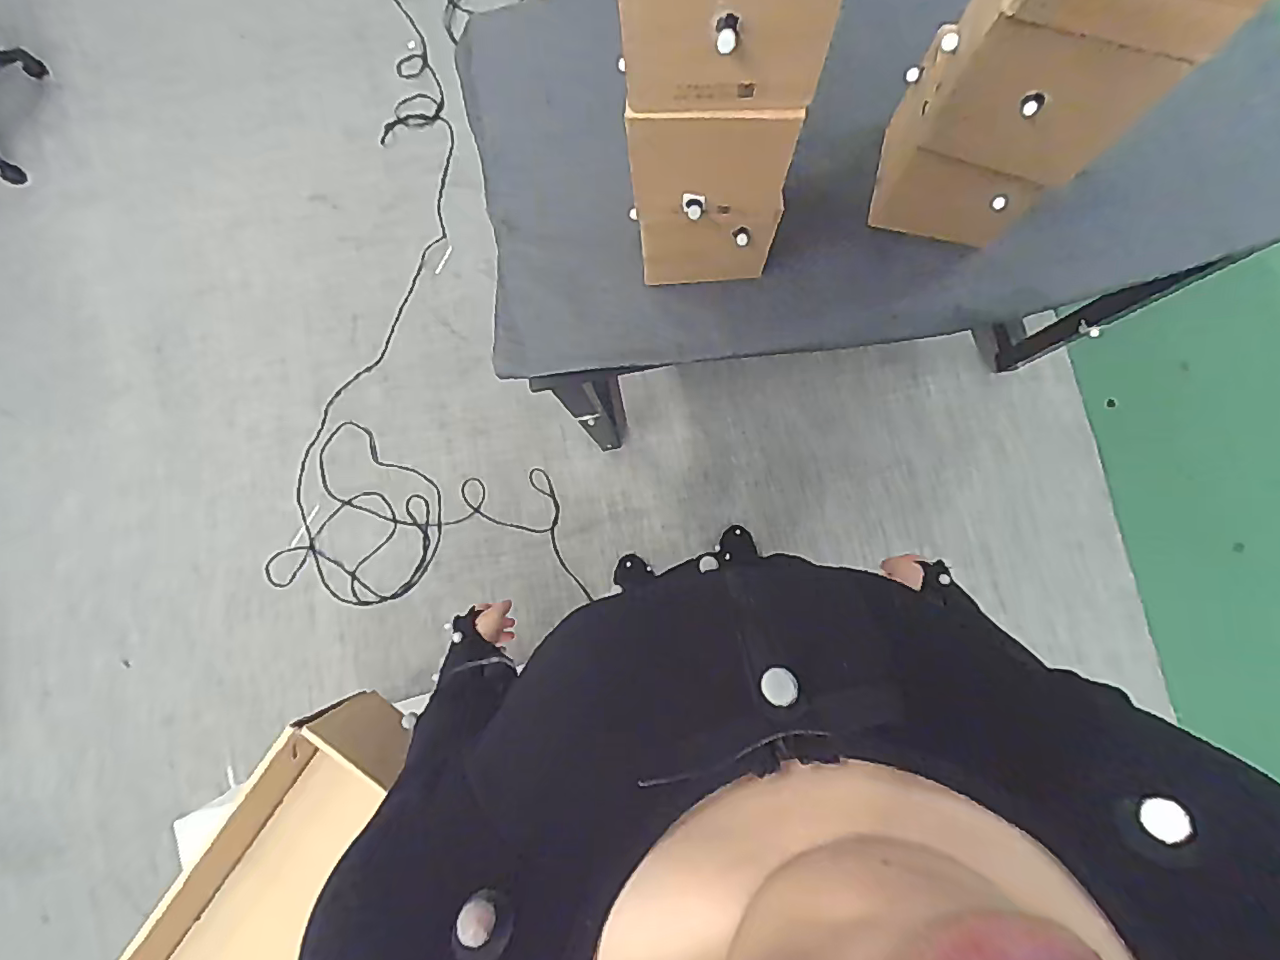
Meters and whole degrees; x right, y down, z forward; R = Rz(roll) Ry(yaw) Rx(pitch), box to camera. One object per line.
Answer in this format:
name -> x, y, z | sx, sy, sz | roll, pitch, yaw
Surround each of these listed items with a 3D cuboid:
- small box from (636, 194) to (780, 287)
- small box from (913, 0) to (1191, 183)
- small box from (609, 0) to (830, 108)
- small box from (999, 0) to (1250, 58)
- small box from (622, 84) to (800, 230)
small box -> 0.084, -0.384, 0.743 | 0.179, 0.176, 0.168 | -3, 82, 3
small box -> 0.426, -0.449, 0.564 | 0.179, 0.176, 0.168 | 20, 84, 6
small box -> 0.063, -0.425, 0.420 | 0.168, 0.176, 0.179 | 1, 84, 4
small box -> 0.414, -0.468, 0.403 | 0.179, 0.176, 0.168 | 18, 84, 4
small box -> 0.073, -0.399, 0.582 | 0.168, 0.176, 0.179 | 2, 84, 5
